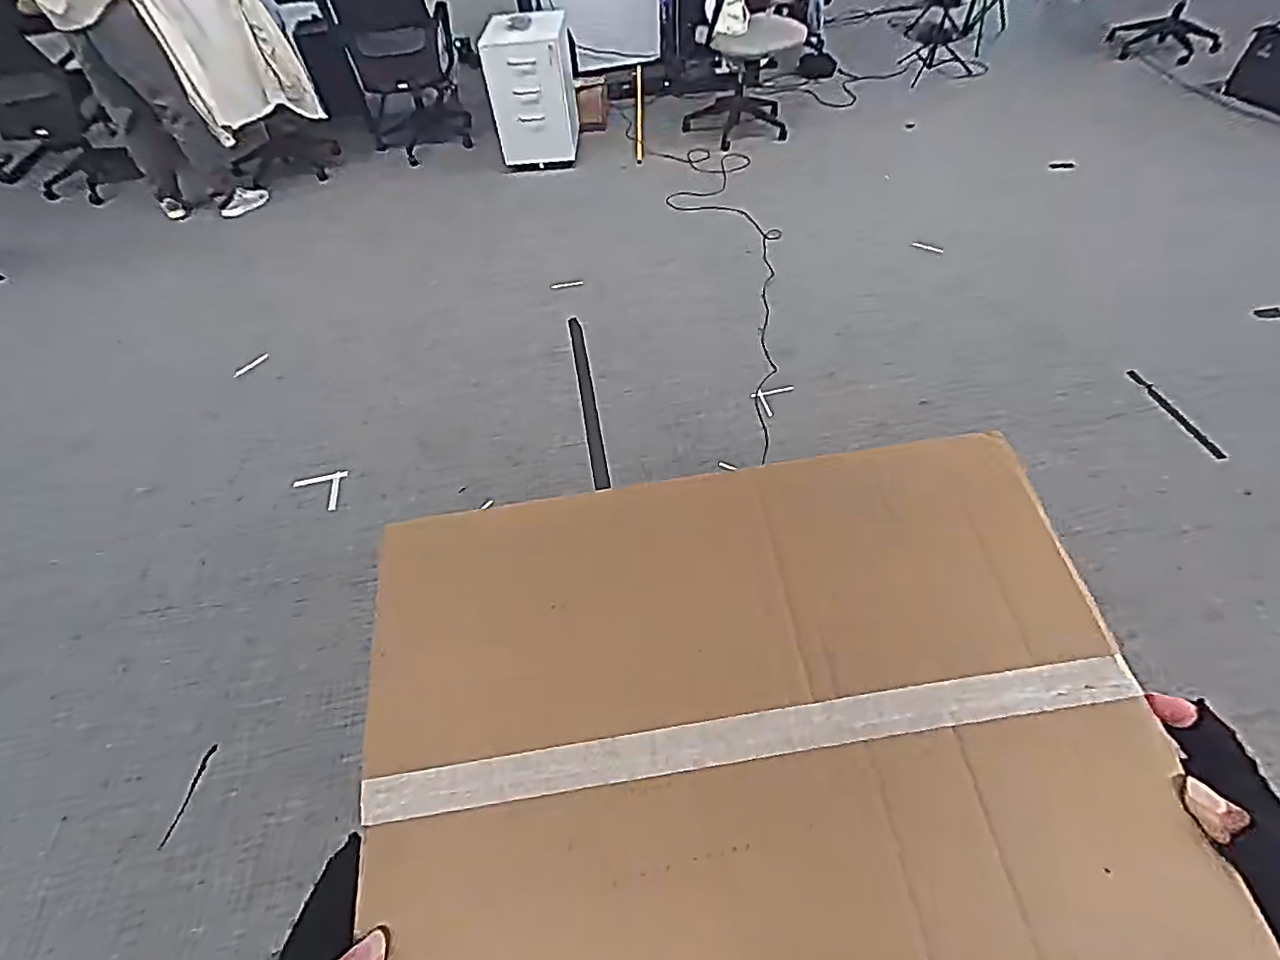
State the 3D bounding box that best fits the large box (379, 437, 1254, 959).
[{"bbox_3d":[0.066,0.204,0.428,0.408,0.320,0.320,-9,64,-1],"label":"large box"}]
